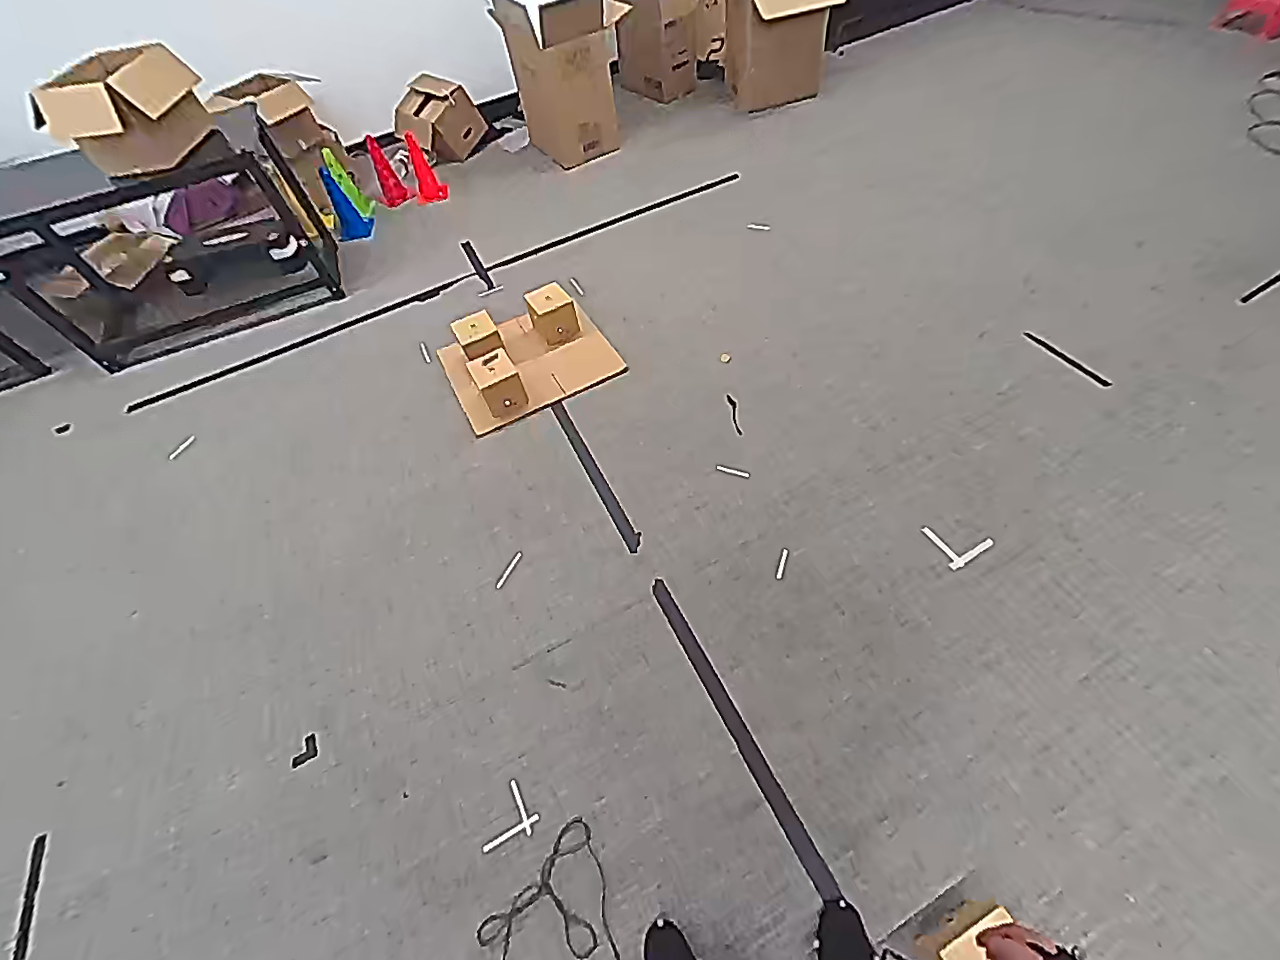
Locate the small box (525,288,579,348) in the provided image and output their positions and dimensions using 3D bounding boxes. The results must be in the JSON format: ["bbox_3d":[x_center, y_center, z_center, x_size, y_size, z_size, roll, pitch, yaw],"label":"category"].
[{"bbox_3d":[-0.395,-0.732,2.452,0.168,0.176,0.179,-30,56,-14],"label":"small box"}]

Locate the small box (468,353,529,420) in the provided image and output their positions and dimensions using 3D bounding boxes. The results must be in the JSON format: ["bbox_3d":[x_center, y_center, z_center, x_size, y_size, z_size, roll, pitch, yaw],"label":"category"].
[{"bbox_3d":[-0.579,-0.381,2.220,0.168,0.176,0.179,-28,57,-11],"label":"small box"}]

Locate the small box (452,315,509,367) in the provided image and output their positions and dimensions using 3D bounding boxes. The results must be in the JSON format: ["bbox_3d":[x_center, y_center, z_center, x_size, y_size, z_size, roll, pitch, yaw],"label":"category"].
[{"bbox_3d":[-0.697,-0.585,2.380,0.168,0.176,0.179,-28,56,-11],"label":"small box"}]
